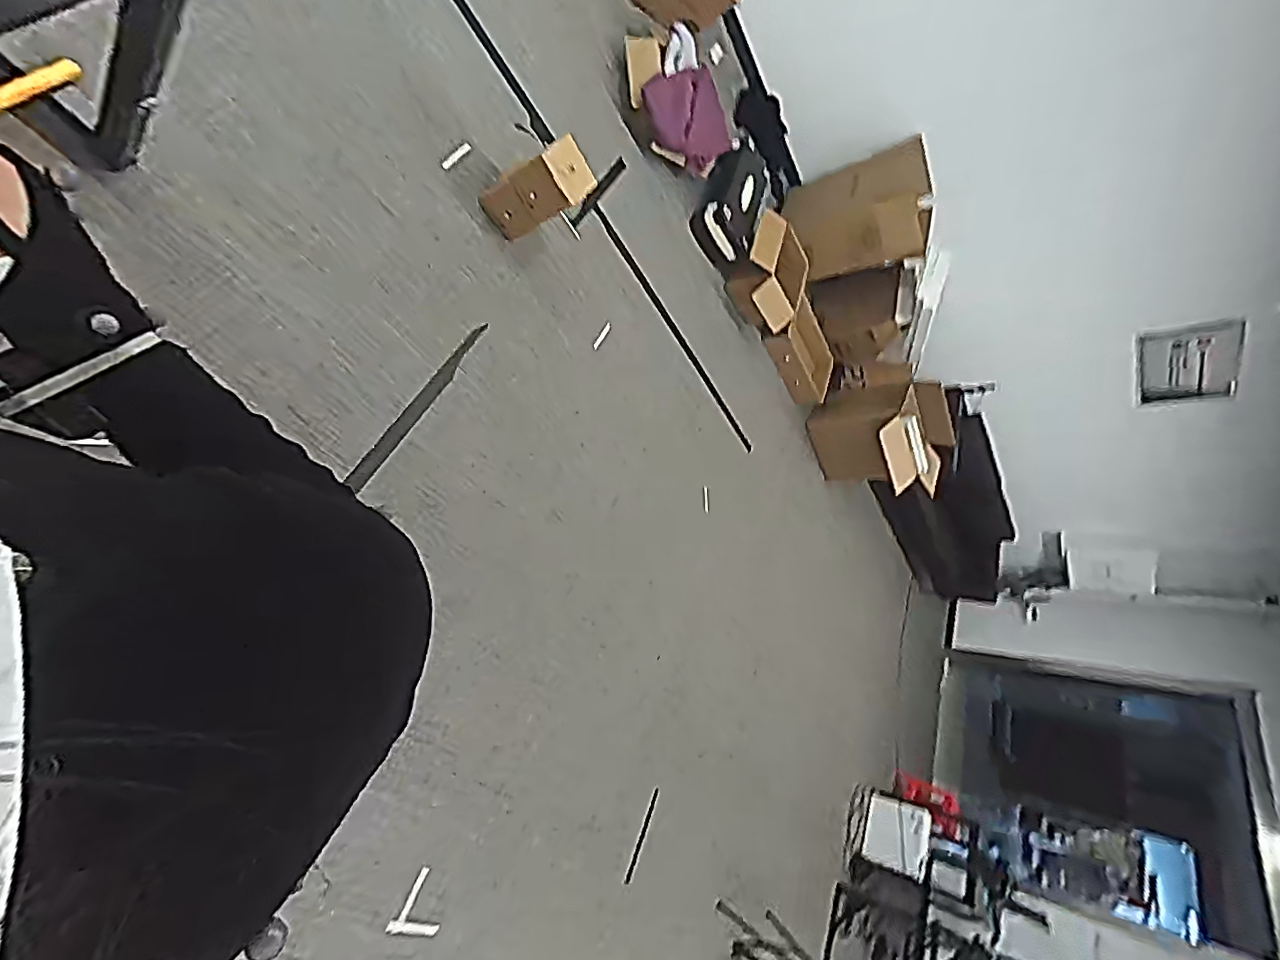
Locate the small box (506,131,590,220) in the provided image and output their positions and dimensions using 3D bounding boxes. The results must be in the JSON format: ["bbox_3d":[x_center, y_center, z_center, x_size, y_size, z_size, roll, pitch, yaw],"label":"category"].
[{"bbox_3d":[-0.298,-0.976,1.740,0.168,0.176,0.179,53,51,-32],"label":"small box"}]

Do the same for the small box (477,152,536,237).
[{"bbox_3d":[-0.426,-0.967,1.845,0.168,0.176,0.179,48,54,-36],"label":"small box"}]
